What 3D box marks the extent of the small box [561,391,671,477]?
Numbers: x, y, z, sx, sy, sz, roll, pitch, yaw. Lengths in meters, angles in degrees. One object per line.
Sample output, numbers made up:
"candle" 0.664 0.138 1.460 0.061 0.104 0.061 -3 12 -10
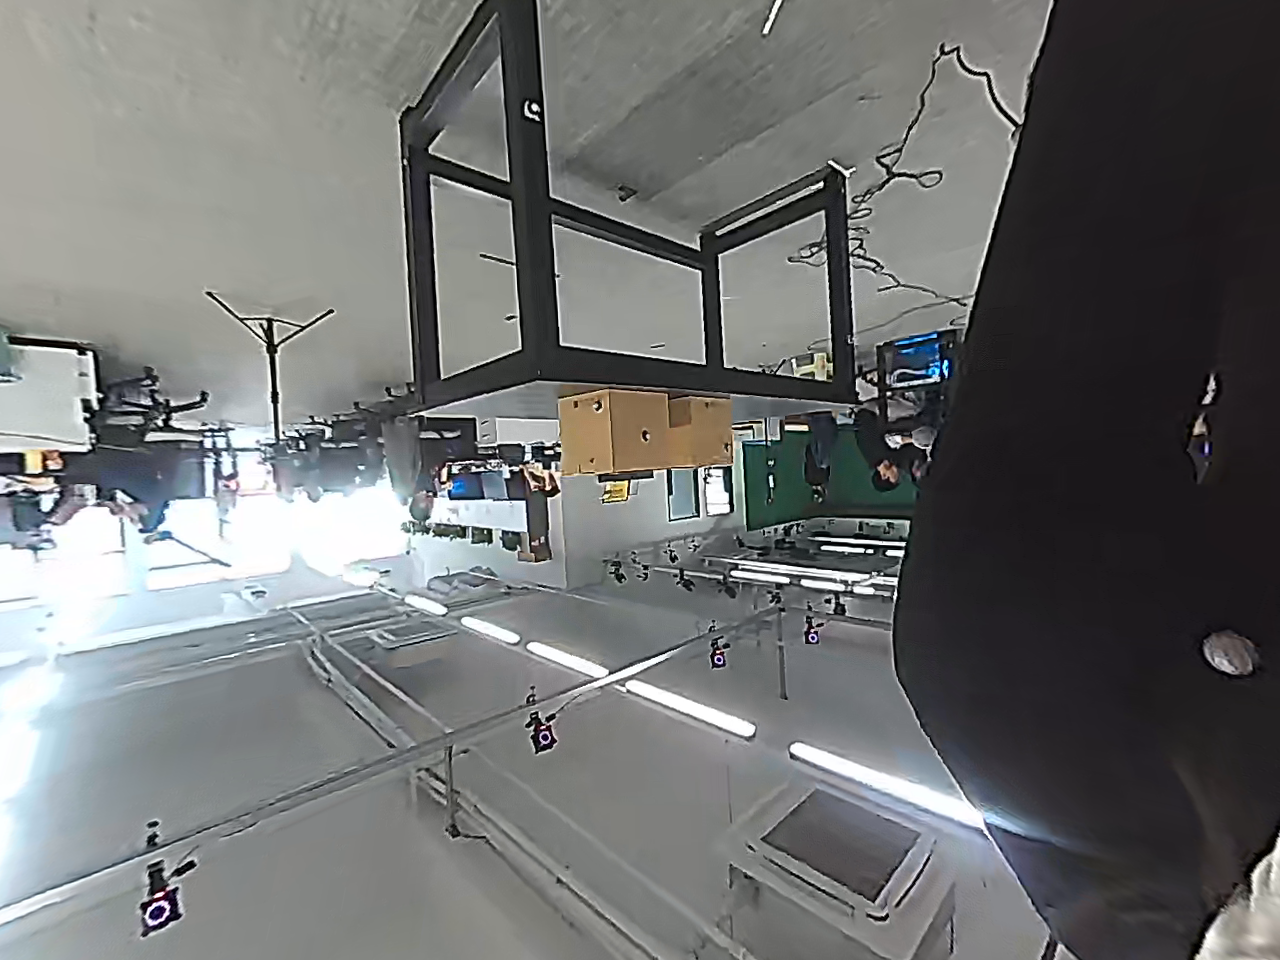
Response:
"small box" -0.055 -0.097 1.164 0.168 0.176 0.179 -1 -176 45
